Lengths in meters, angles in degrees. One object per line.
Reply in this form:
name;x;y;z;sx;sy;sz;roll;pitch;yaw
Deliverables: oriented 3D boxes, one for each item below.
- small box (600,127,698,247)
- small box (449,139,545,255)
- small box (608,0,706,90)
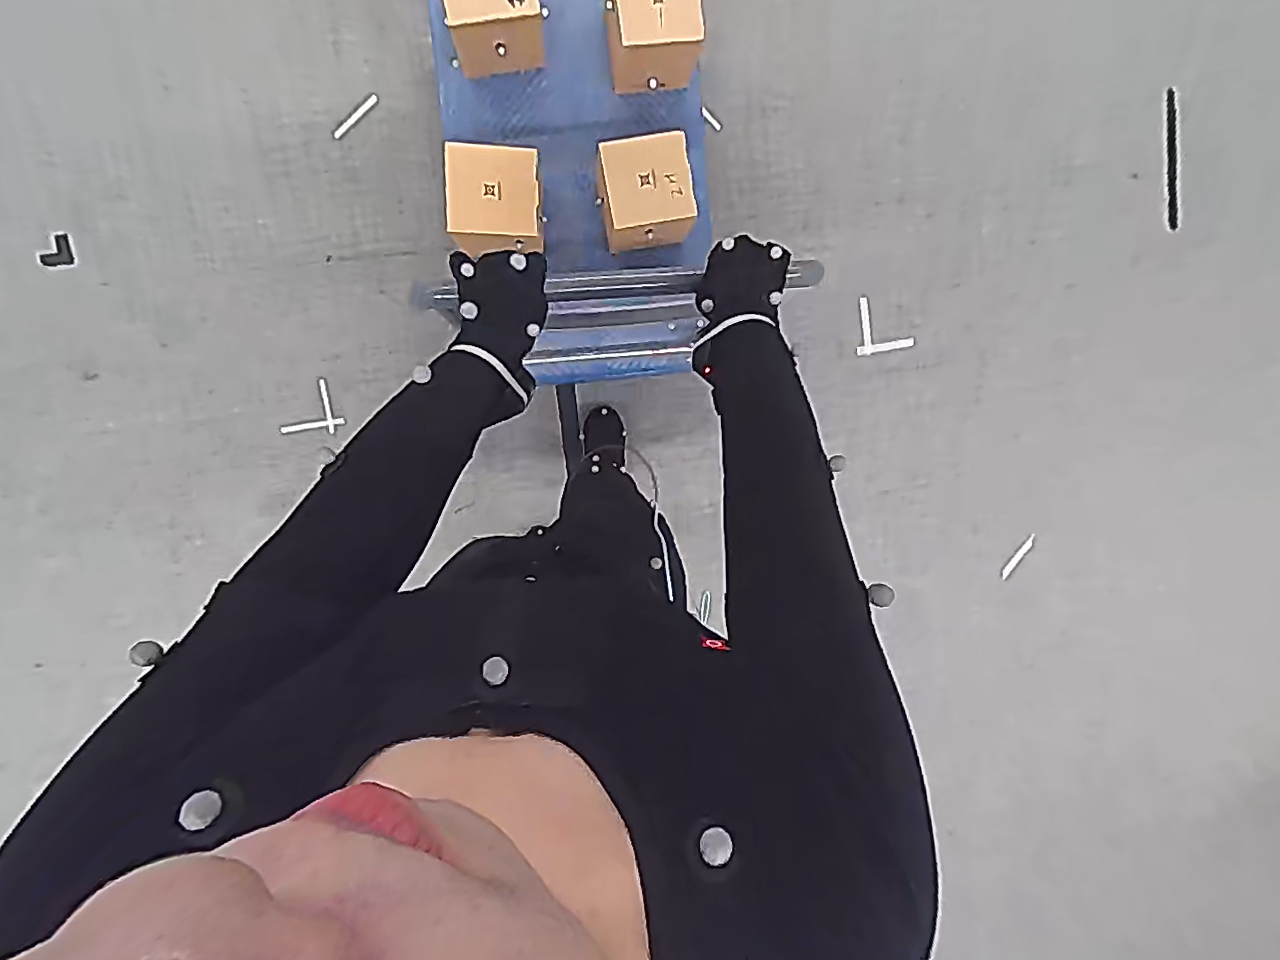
small box;0.013;-0.616;1.158;0.179;0.176;0.168;-11;99;-5
small box;-0.291;-0.581;1.129;0.179;0.176;0.168;0;97;-8
small box;0.028;-0.951;1.116;0.168;0.176;0.179;-9;99;-6
